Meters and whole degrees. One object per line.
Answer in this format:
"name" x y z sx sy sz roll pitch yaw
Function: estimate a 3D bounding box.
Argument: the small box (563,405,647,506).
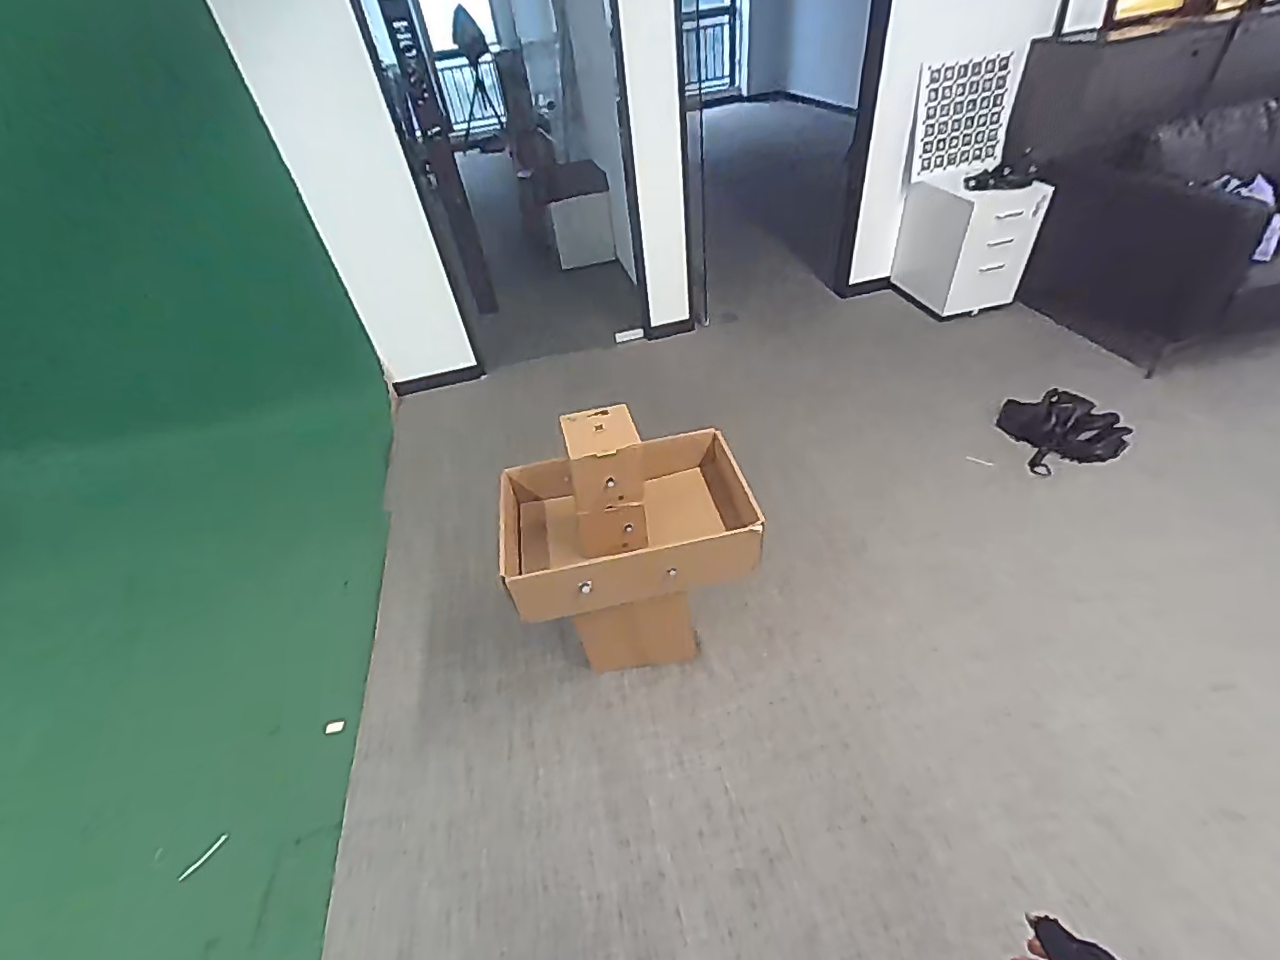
"small box" -0.083 -0.053 1.307 0.168 0.176 0.179 -11 42 -8

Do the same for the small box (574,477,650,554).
"small box" -0.073 0.075 1.409 0.168 0.176 0.179 -10 40 -6
